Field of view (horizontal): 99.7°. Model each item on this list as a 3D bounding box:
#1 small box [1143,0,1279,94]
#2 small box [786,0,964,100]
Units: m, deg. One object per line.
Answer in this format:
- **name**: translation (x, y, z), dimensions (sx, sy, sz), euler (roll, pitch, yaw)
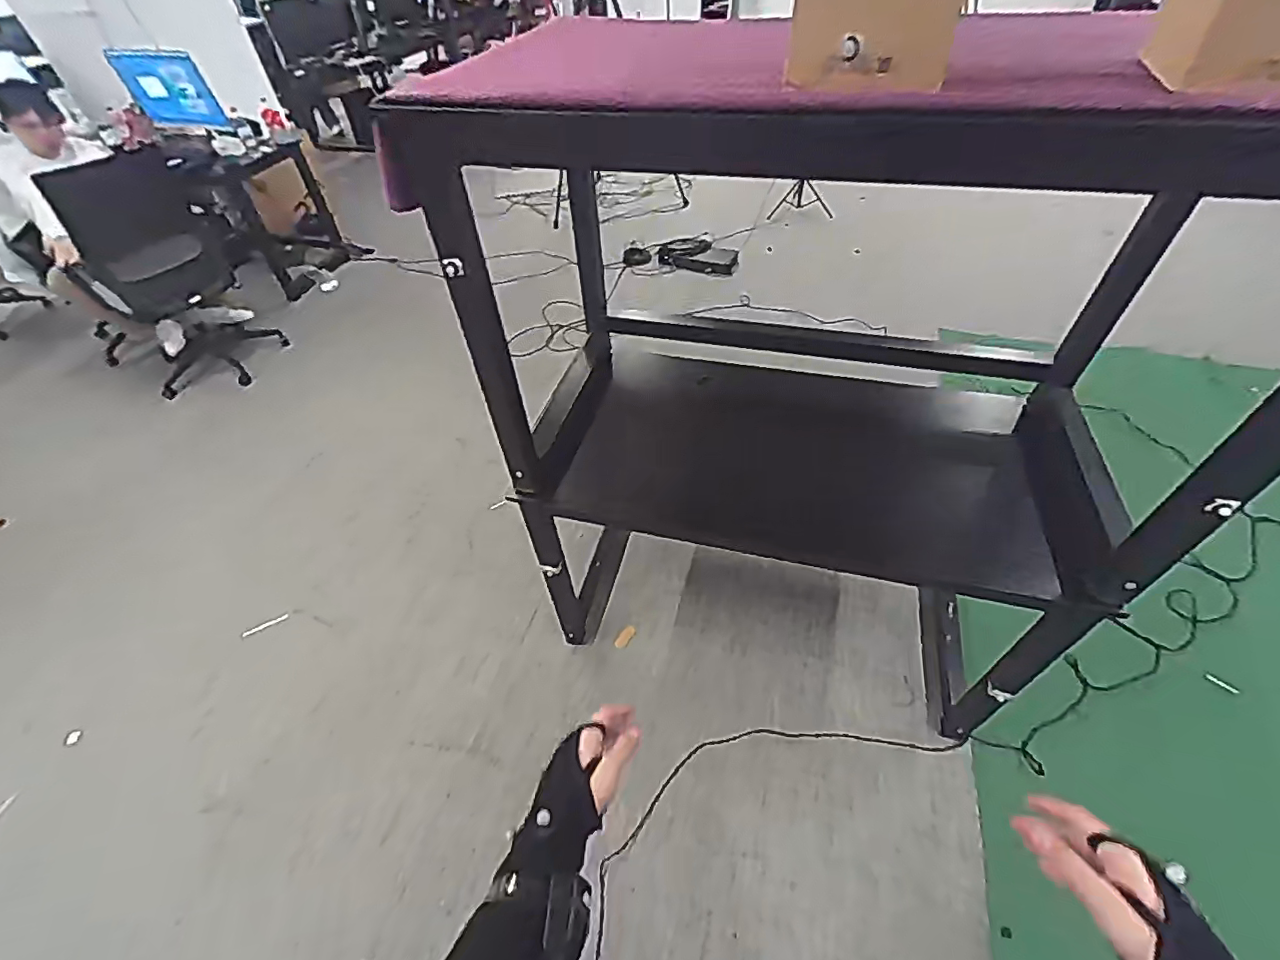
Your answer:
- **small box**: translation (0.627, -0.478, 0.505), dimensions (0.168, 0.176, 0.179), euler (12, 49, 17)
- **small box**: translation (0.260, -0.536, 0.589), dimensions (0.168, 0.176, 0.179), euler (11, 48, 16)
